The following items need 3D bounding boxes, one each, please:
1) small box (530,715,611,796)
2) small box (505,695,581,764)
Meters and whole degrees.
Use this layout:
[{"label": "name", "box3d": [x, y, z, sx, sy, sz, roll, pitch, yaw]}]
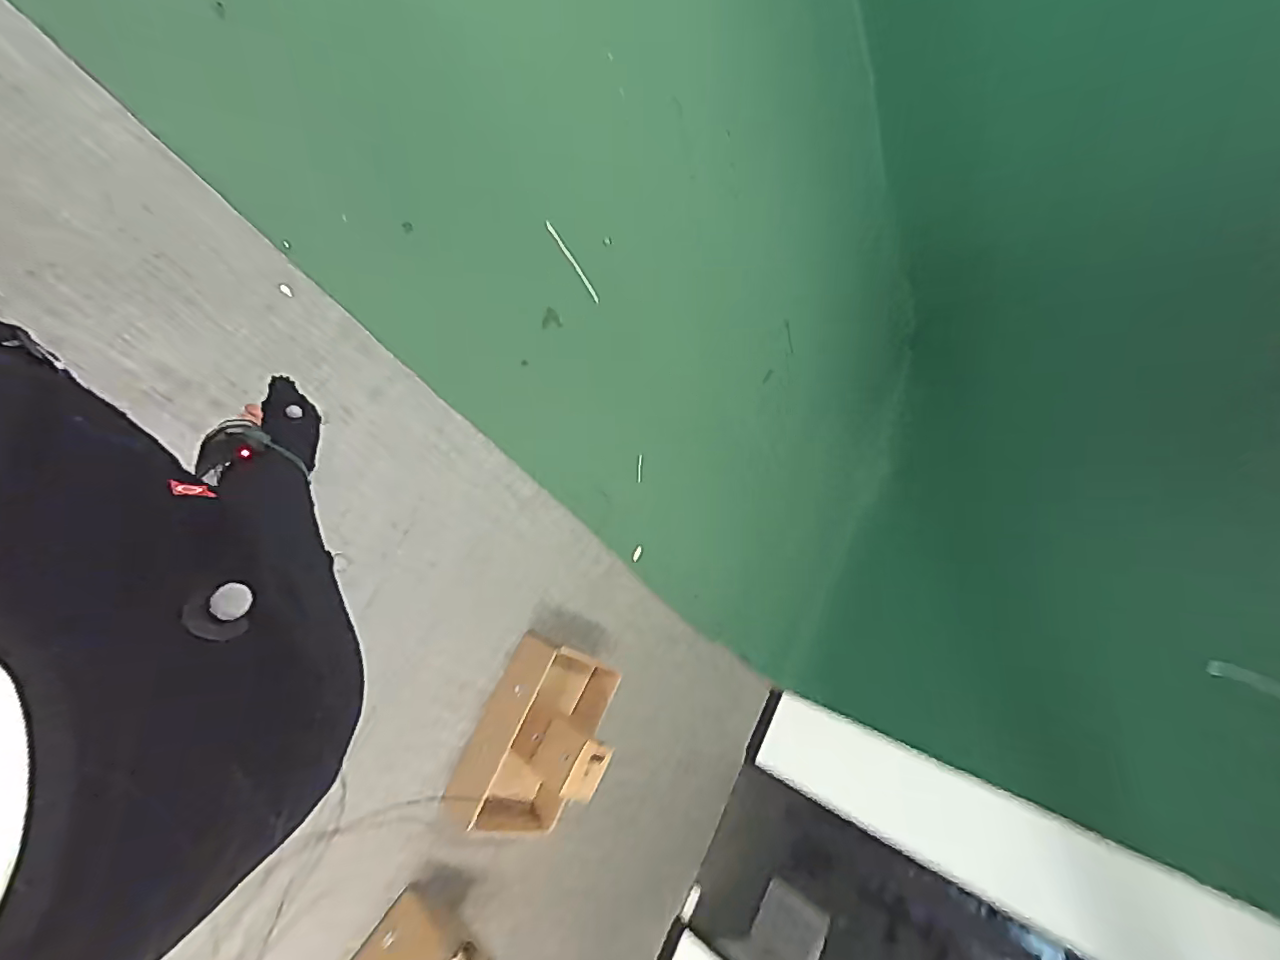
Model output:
[{"label": "small box", "box3d": [-0.235, 0.914, 1.802, 0.168, 0.176, 0.179, 45, 67, -43]}, {"label": "small box", "box3d": [-0.348, 0.891, 1.920, 0.168, 0.176, 0.179, 42, 70, -44]}]
